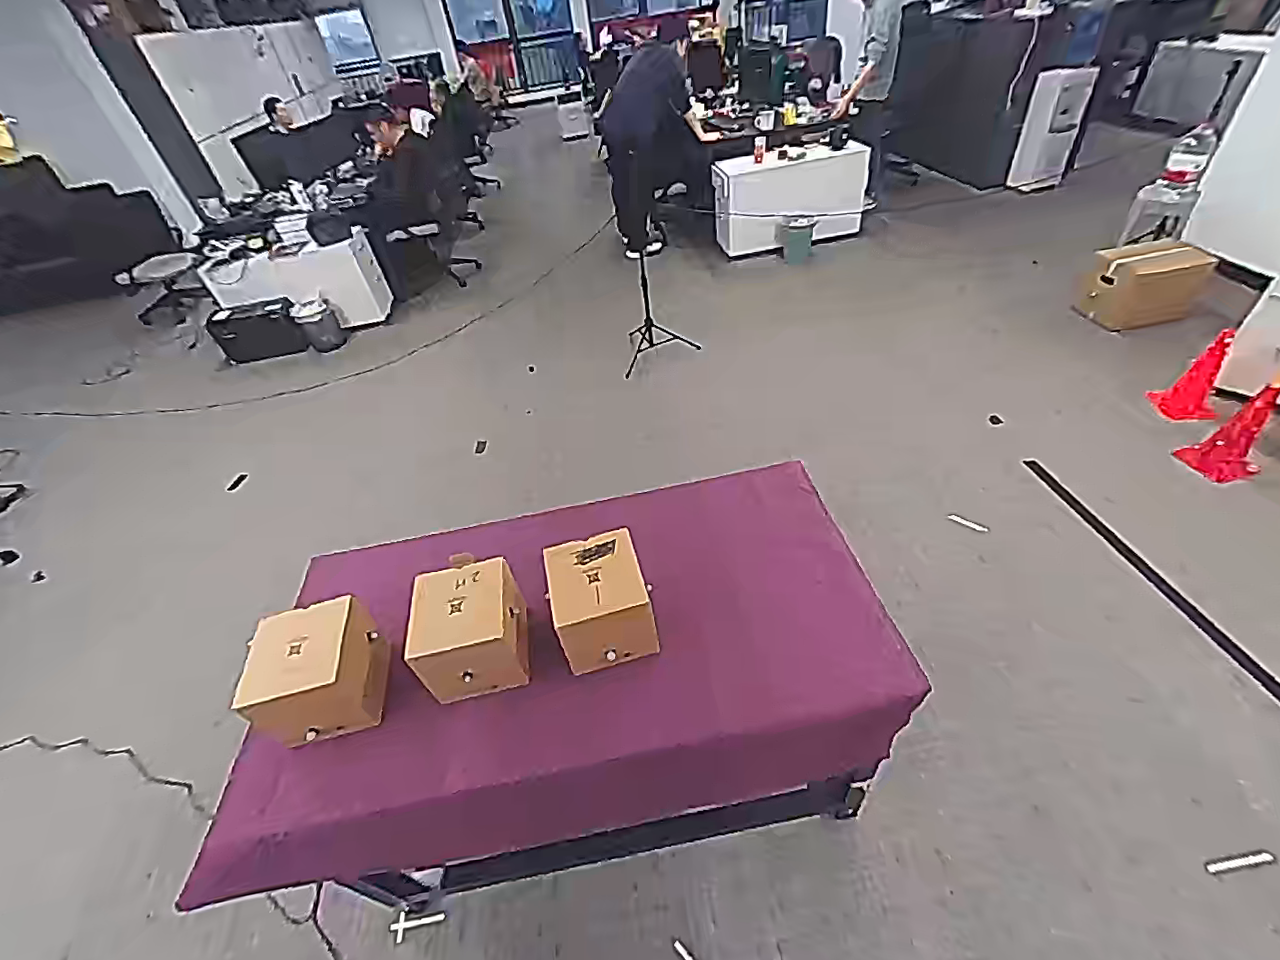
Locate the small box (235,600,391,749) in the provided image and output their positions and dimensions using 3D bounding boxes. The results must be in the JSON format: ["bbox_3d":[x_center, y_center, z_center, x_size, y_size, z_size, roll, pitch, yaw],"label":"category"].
[{"bbox_3d":[-0.573,0.351,0.978,0.168,0.176,0.179,-14,42,-4],"label":"small box"}]

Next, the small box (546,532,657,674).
[{"bbox_3d":[-0.072,0.231,1.016,0.168,0.176,0.179,-15,43,-5],"label":"small box"}]

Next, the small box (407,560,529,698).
[{"bbox_3d":[-0.308,0.282,1.003,0.168,0.176,0.179,-12,42,-3],"label":"small box"}]
